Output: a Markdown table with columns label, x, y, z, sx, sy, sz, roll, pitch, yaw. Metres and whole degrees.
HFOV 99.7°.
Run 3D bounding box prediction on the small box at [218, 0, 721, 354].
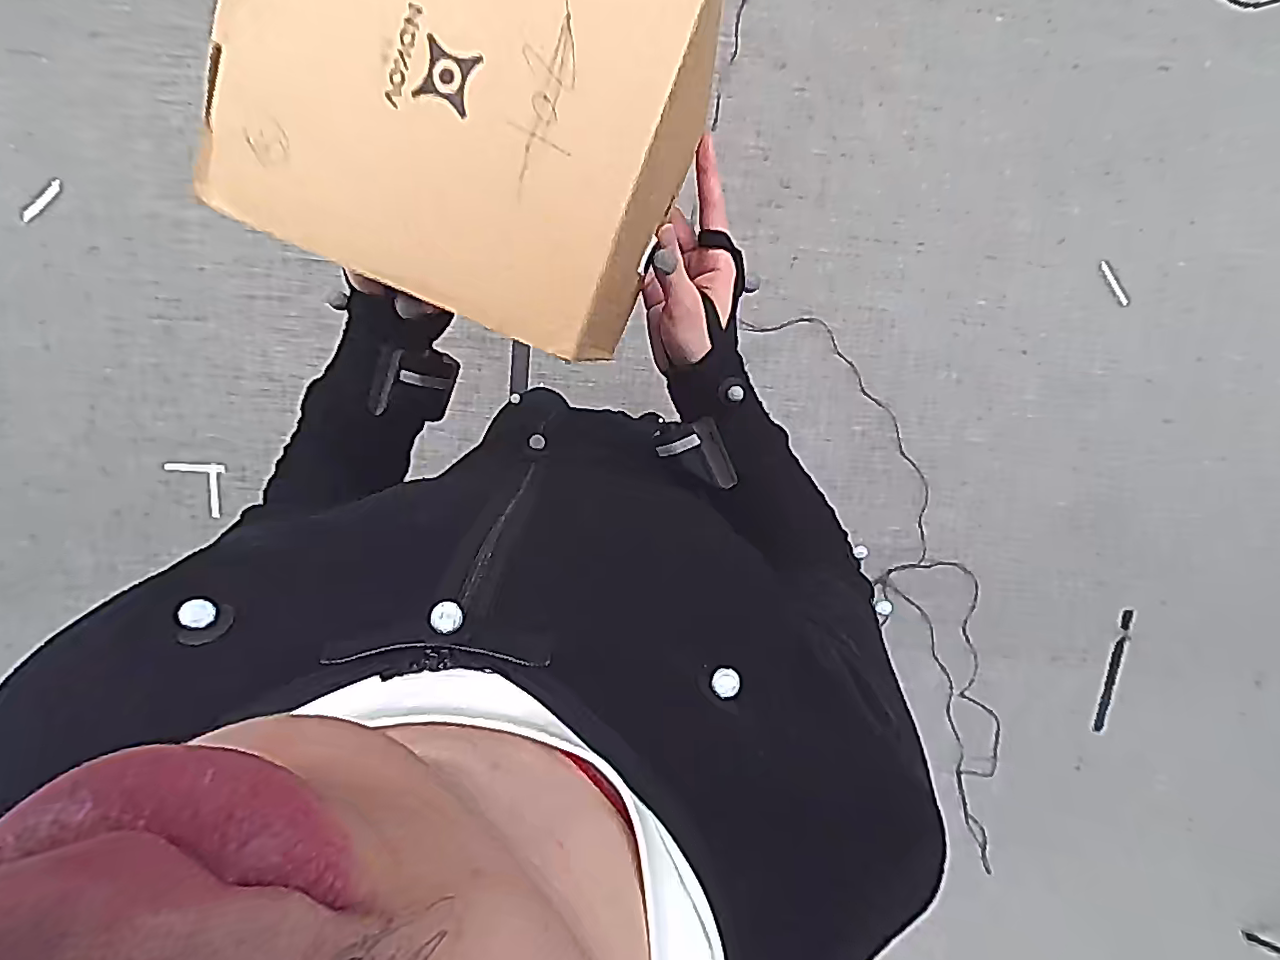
| label | x | y | z | sx | sy | sz | roll | pitch | yaw |
| --- | --- | --- | --- | --- | --- | --- | --- | --- | --- |
| small box | -0.072 | -0.177 | 0.299 | 0.179 | 0.176 | 0.168 | 22 | 104 | -2 |
